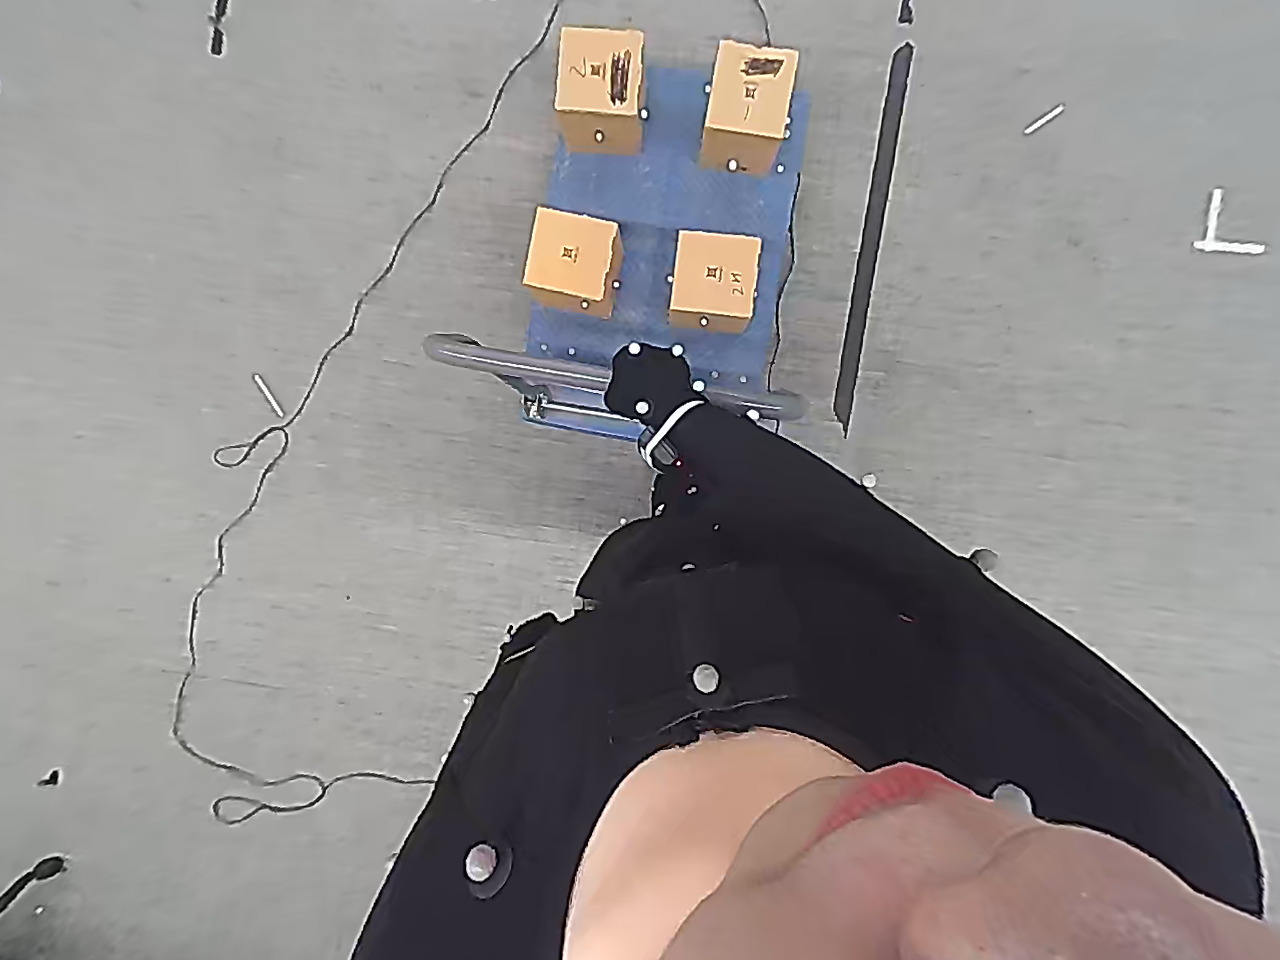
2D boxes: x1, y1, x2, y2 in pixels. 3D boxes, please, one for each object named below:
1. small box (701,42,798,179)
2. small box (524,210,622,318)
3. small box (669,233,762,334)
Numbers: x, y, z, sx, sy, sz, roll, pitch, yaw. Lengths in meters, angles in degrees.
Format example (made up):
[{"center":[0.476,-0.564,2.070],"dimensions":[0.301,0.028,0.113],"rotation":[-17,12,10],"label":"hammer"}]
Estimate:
[{"center":[0.231,-0.800,1.185],"dimensions":[0.168,0.176,0.179],"rotation":[10,95,2],"label":"small box"},{"center":[-0.144,-0.478,1.222],"dimensions":[0.179,0.176,0.168],"rotation":[12,93,0],"label":"small box"},{"center":[0.162,-0.432,1.210],"dimensions":[0.179,0.176,0.168],"rotation":[7,94,2],"label":"small box"}]
